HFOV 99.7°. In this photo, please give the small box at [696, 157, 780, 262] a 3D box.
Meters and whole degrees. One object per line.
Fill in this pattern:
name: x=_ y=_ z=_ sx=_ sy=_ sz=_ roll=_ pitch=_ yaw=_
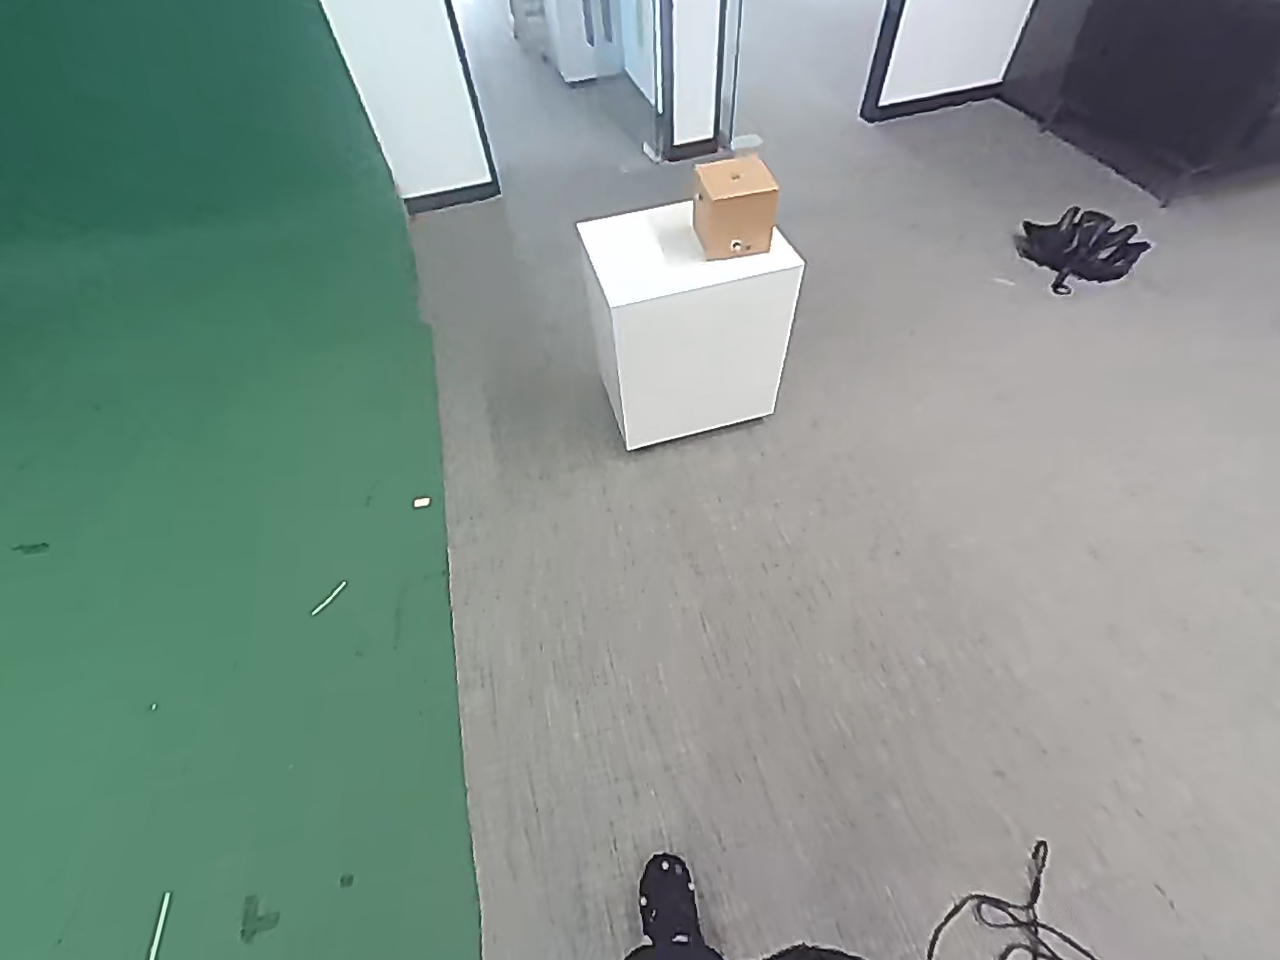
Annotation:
small box: x=0.239 y=-0.683 z=1.372 sx=0.168 sy=0.176 sz=0.179 roll=-11 pitch=56 yaw=-3
